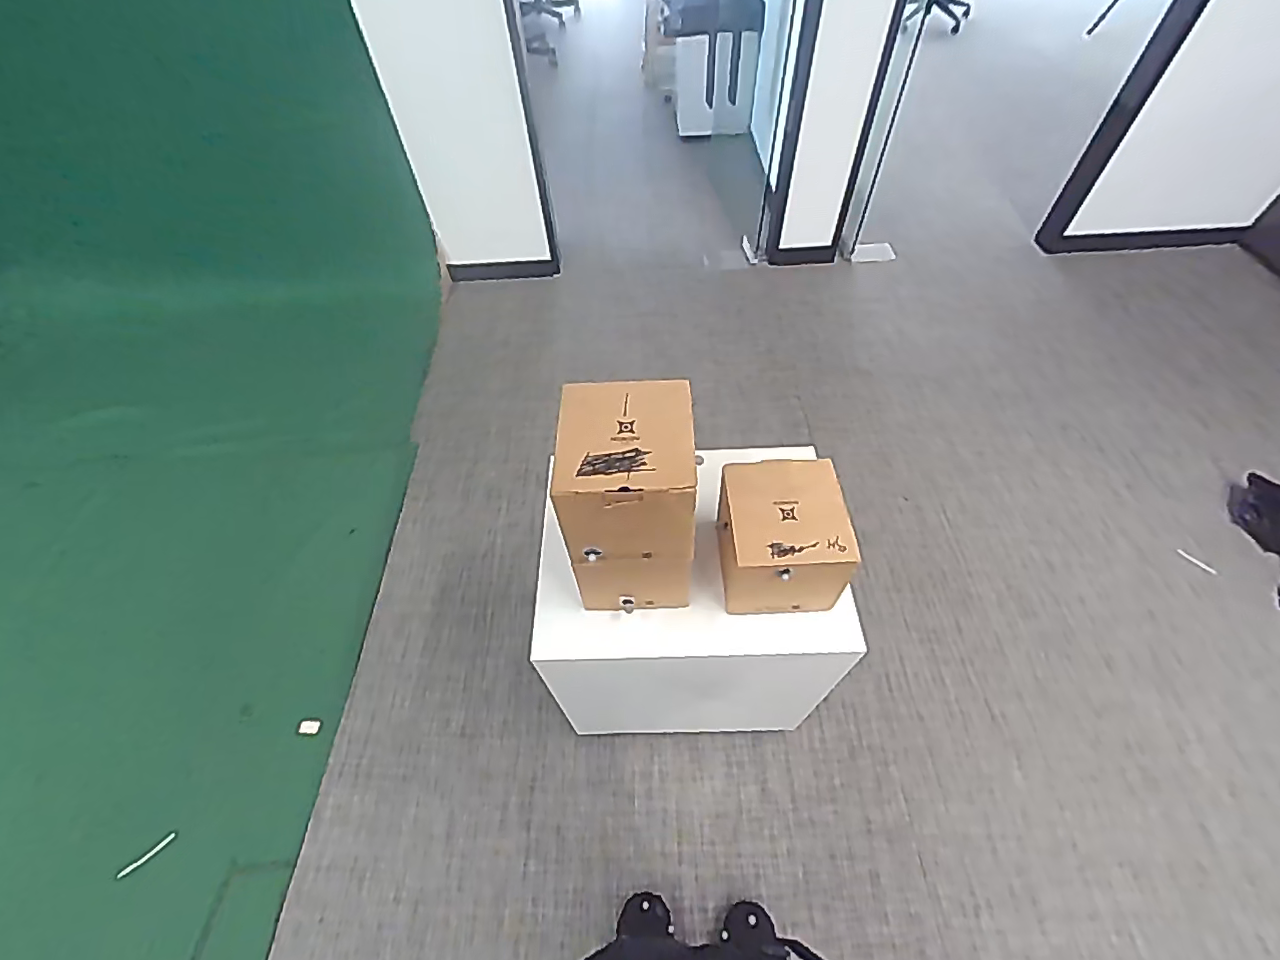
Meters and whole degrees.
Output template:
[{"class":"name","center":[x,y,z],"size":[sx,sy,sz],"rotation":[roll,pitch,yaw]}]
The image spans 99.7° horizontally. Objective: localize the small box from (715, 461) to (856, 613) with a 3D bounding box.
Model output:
[{"class":"small box","center":[0.210,0.090,0.837],"size":[0.168,0.176,0.179],"rotation":[-2,53,1]}]

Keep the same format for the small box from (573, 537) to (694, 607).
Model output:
[{"class":"small box","center":[-0.010,0.080,0.839],"size":[0.168,0.176,0.179],"rotation":[-4,55,1]}]

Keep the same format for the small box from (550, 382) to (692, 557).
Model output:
[{"class":"small box","center":[-0.015,-0.008,0.720],"size":[0.168,0.176,0.179],"rotation":[-1,52,3]}]
